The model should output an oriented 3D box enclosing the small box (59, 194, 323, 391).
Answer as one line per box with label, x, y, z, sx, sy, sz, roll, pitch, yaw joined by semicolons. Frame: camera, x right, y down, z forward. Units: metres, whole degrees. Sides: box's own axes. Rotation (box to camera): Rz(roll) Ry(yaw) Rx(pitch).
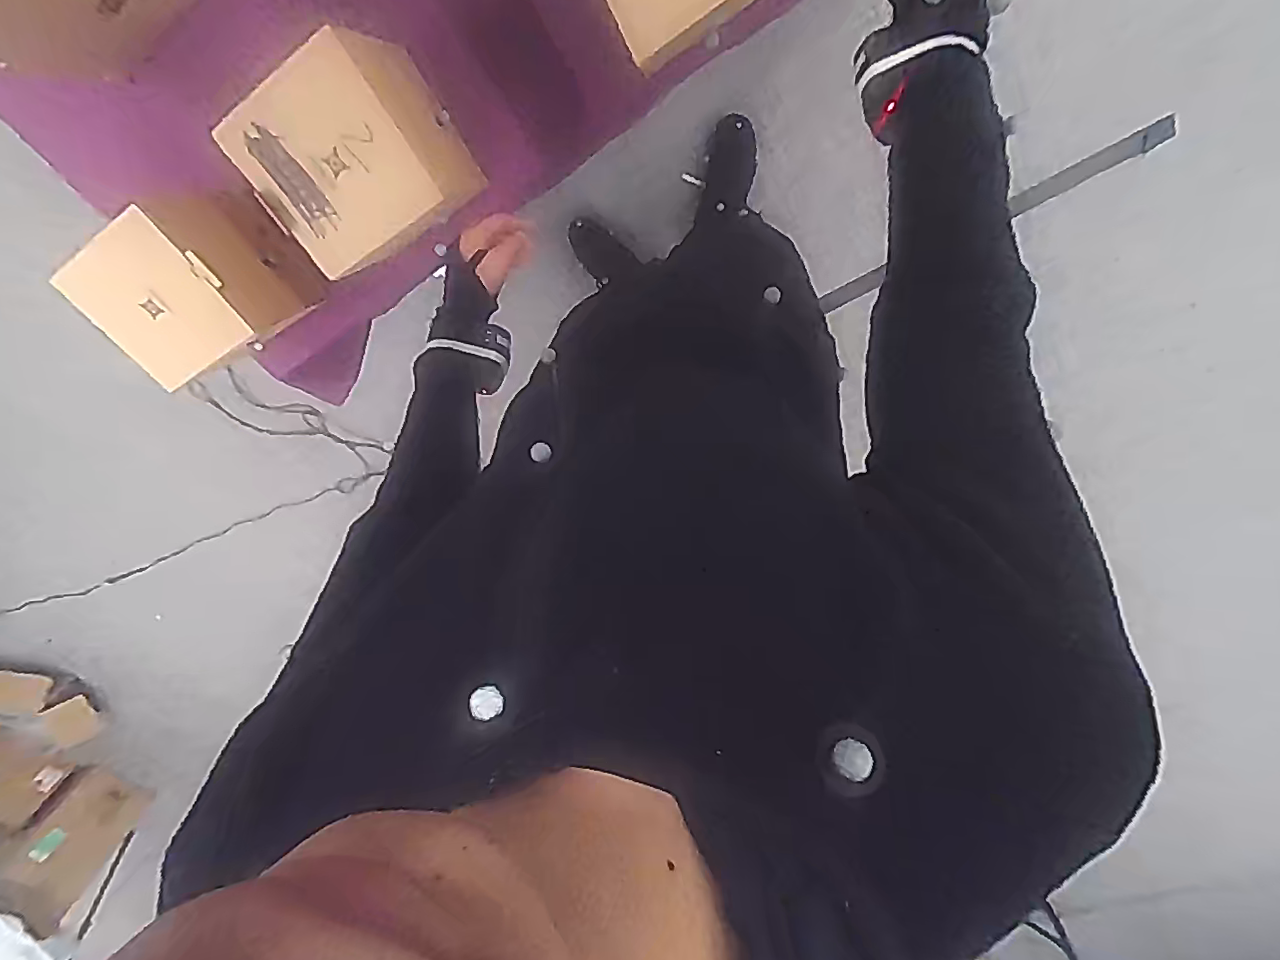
small box;-0.572;-0.251;0.716;0.179;0.176;0.168;-24;118;17
